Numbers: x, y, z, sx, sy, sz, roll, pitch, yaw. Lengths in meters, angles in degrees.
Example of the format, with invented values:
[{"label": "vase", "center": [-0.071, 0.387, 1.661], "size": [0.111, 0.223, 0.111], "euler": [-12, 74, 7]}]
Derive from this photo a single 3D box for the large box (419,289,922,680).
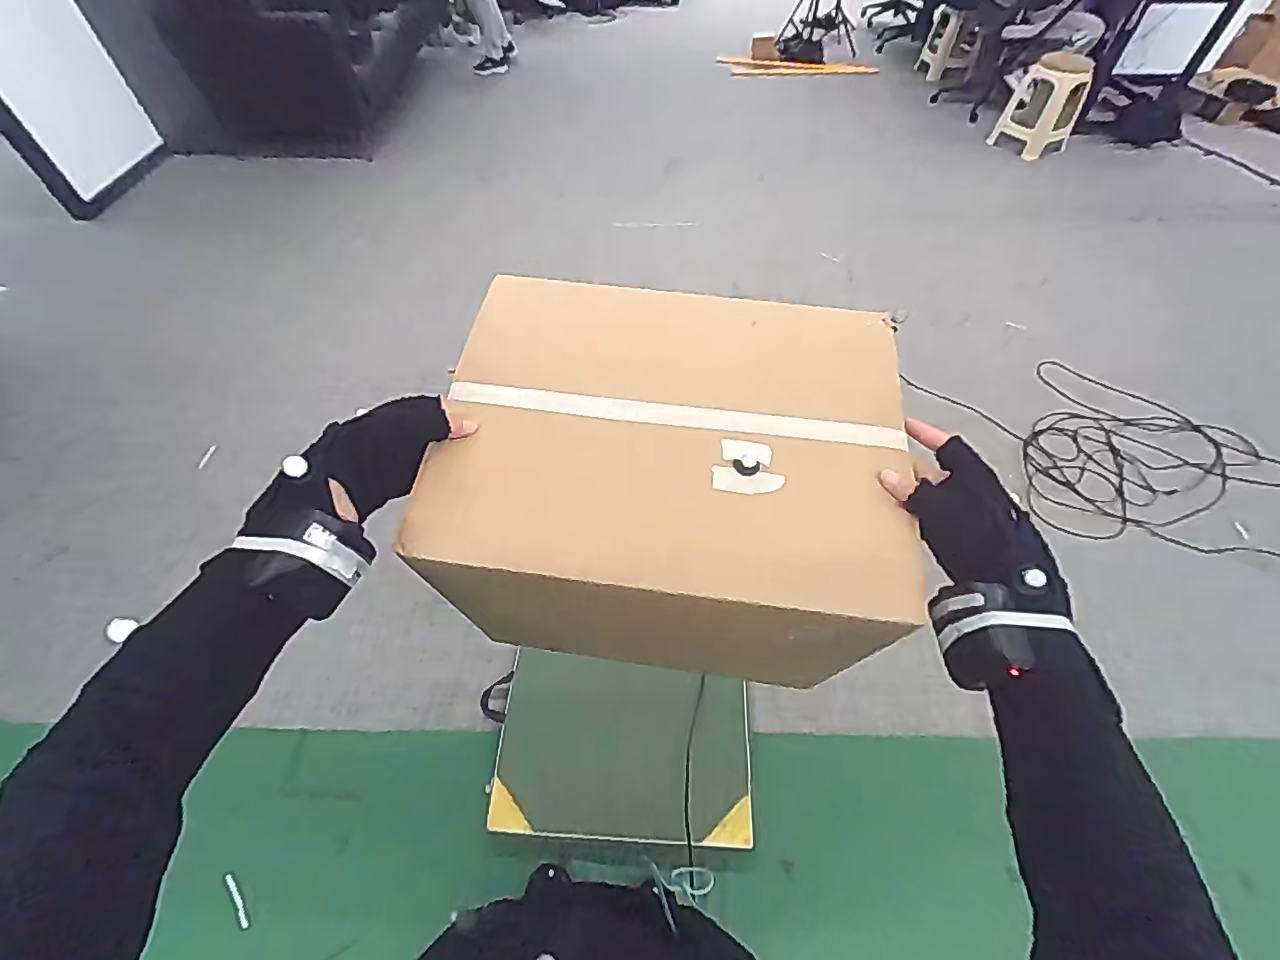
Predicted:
[{"label": "large box", "center": [0.033, 0.022, 0.620], "size": [0.408, 0.320, 0.320], "euler": [7, 61, 3]}]
